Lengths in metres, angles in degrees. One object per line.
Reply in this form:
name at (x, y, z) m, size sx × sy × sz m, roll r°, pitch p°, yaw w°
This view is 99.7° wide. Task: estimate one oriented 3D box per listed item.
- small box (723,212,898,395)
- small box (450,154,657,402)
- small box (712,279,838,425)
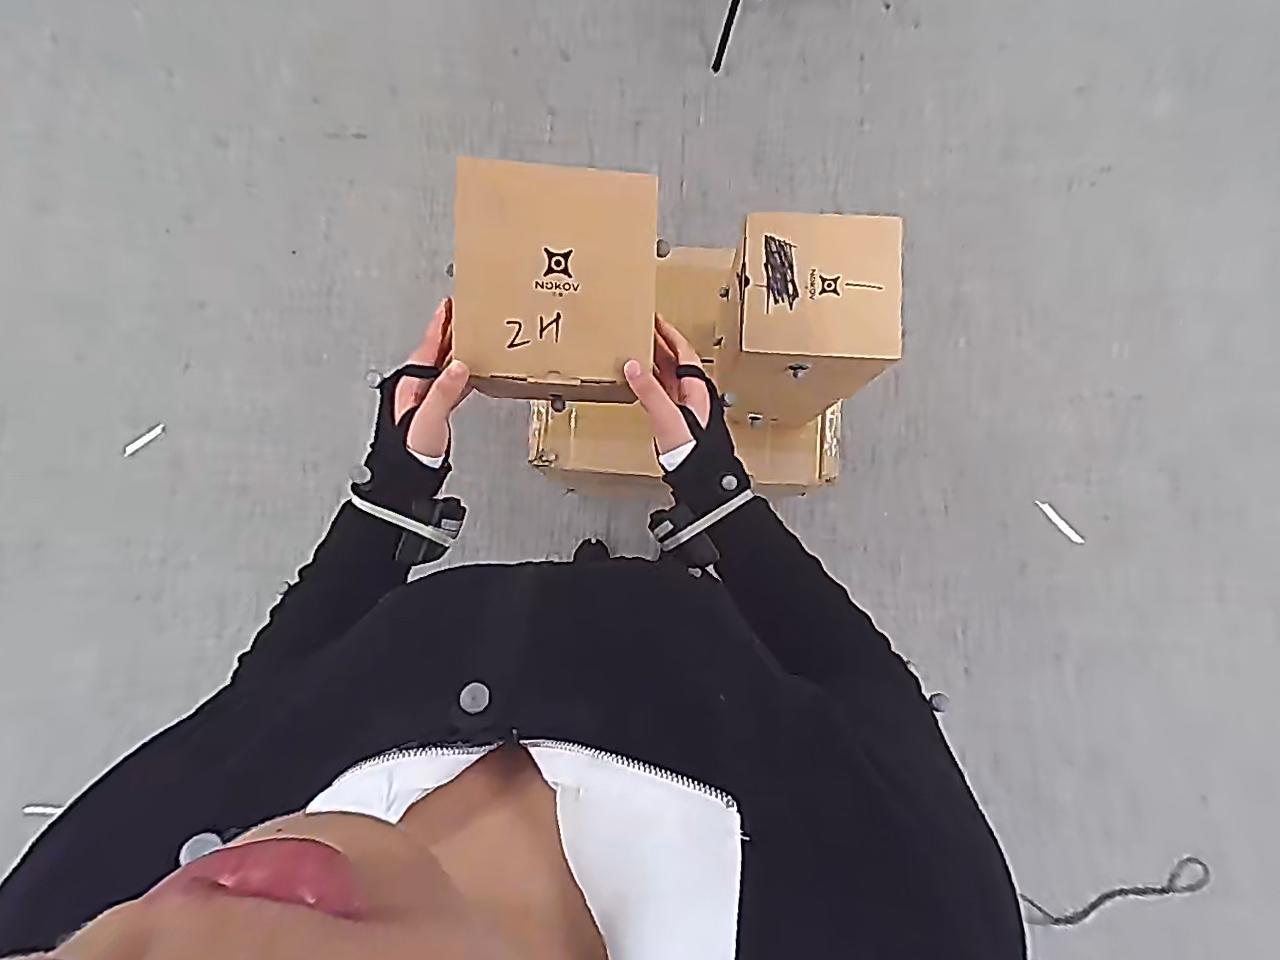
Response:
small box at (0.201, -0.209, 0.679) m, size 0.179 × 0.176 × 0.168 m, roll 3°, pitch 84°, yaw 2°
small box at (-0.079, -0.176, 0.524) m, size 0.168 × 0.176 × 0.179 m, roll 1°, pitch 92°, yaw -5°
small box at (0.203, -0.192, 0.843) m, size 0.168 × 0.176 × 0.179 m, roll 3°, pitch 85°, yaw 3°
